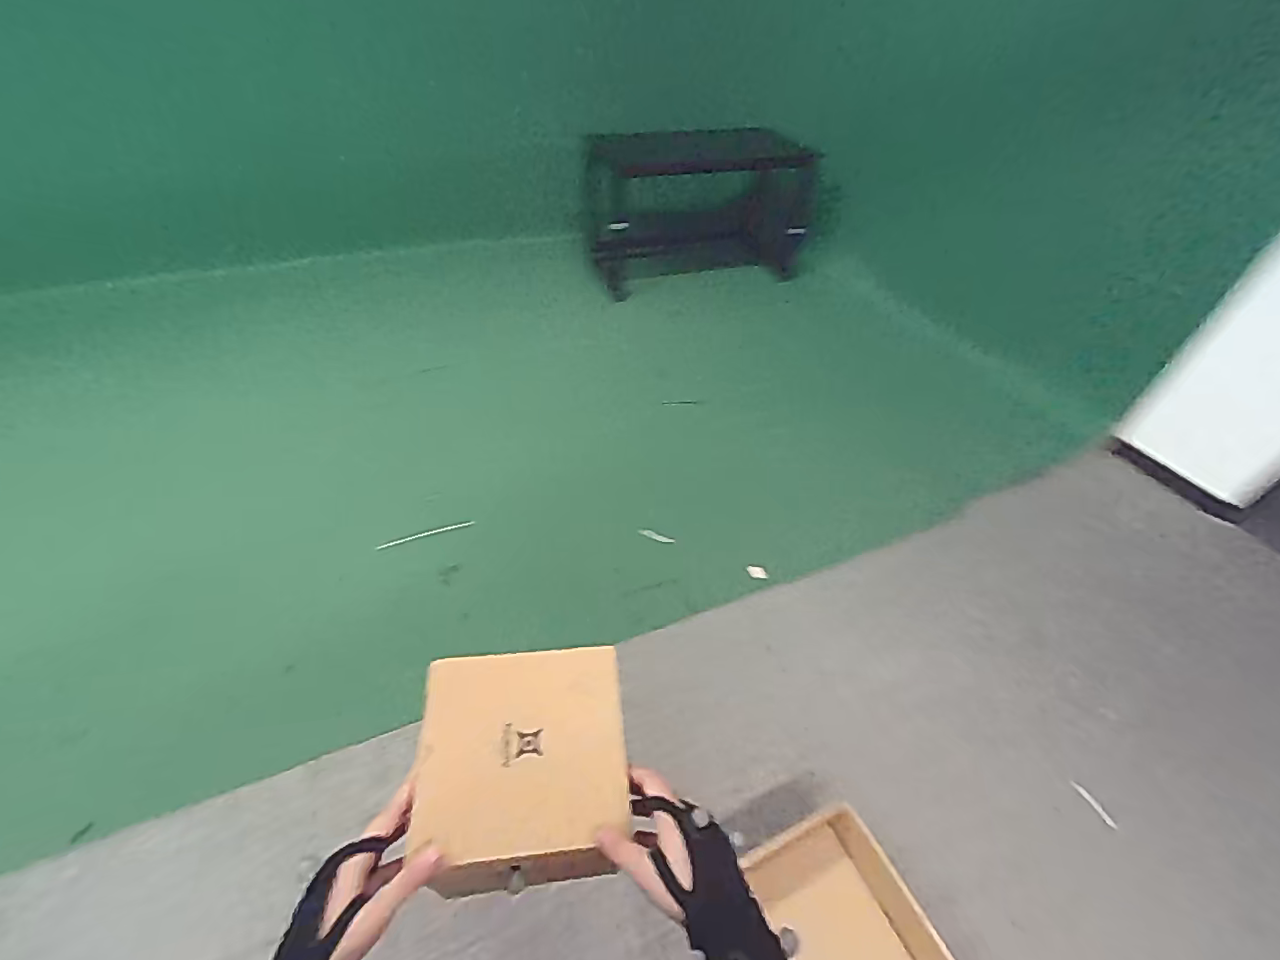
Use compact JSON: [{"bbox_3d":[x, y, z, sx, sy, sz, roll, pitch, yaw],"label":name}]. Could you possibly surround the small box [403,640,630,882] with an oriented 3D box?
[{"bbox_3d":[-0.110,0.275,0.530,0.179,0.176,0.168,-4,49,-8],"label":"small box"}]
